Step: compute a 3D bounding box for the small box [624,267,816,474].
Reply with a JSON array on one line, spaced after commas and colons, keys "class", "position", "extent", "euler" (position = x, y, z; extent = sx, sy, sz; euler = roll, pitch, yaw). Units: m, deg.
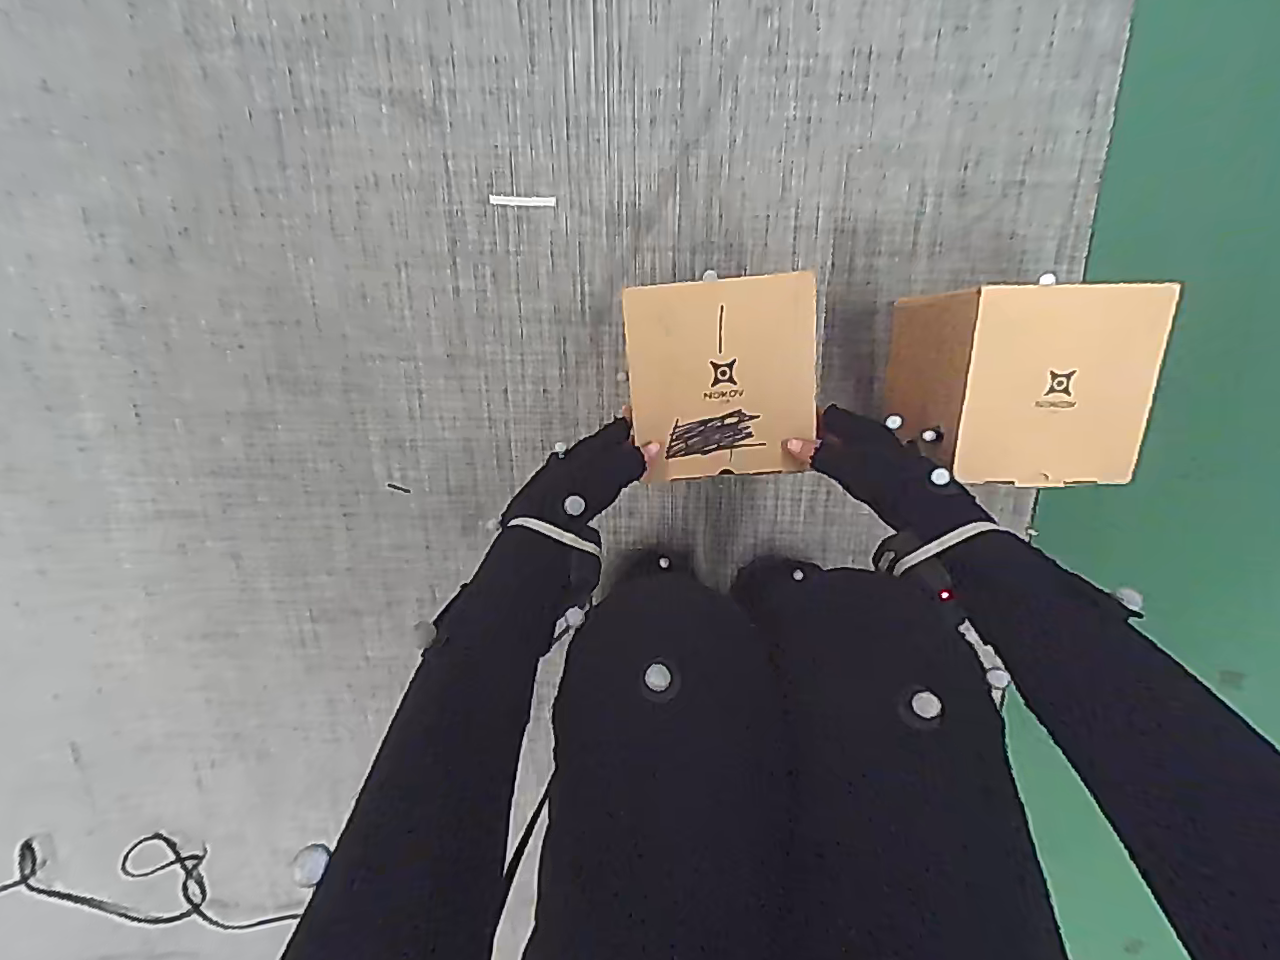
[{"class": "small box", "position": [0.076, -0.114, 0.560], "extent": [0.168, 0.176, 0.179], "euler": [-4, 104, 2]}]

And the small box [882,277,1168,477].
[{"class": "small box", "position": [0.369, -0.107, 0.557], "extent": [0.168, 0.176, 0.179], "euler": [0, 105, 2]}]
